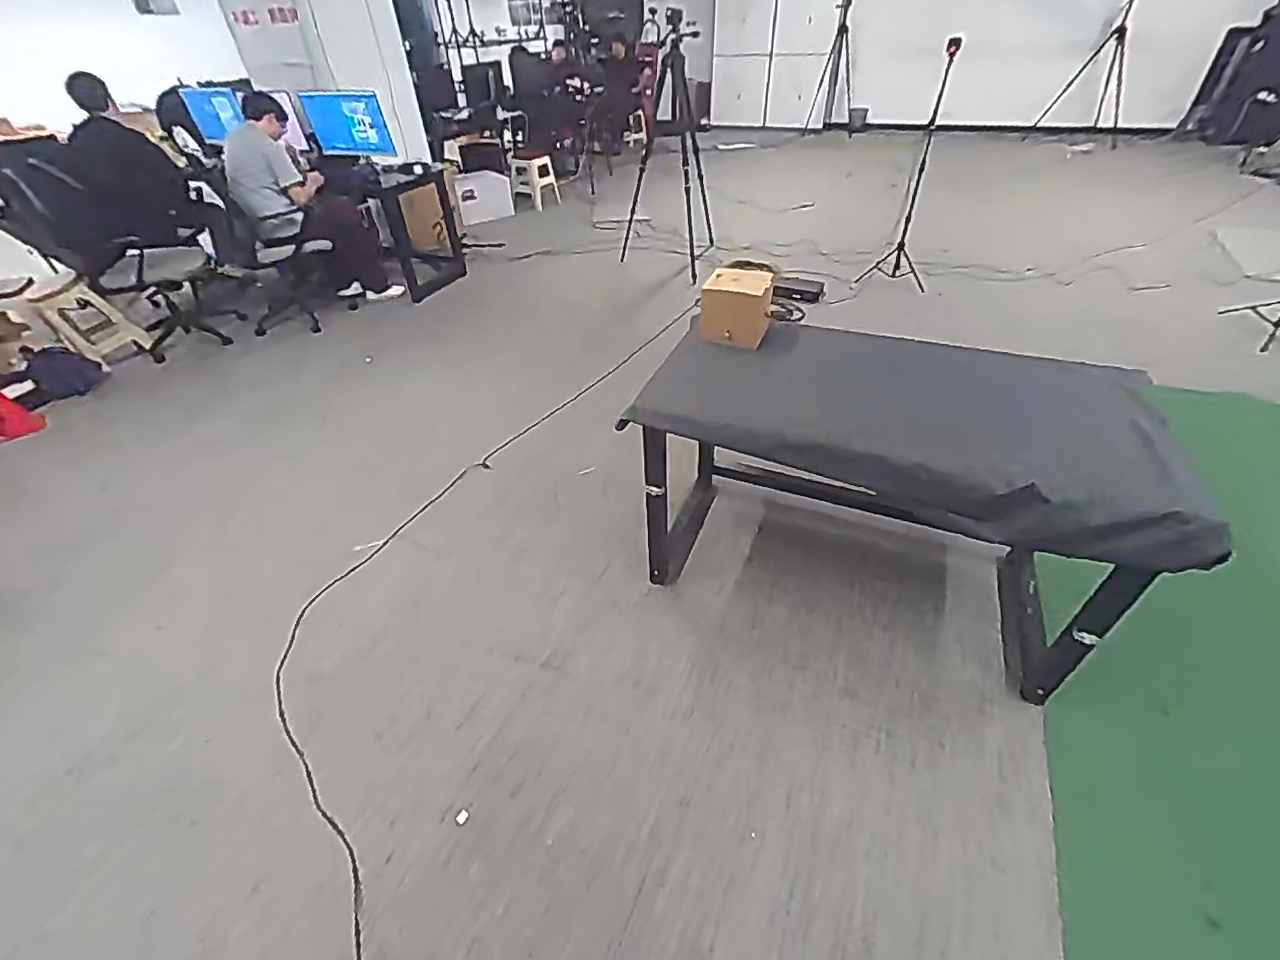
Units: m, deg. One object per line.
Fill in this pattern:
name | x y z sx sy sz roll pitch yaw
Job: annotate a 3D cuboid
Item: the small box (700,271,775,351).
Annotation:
small box | 0.290 -0.503 1.619 0.179 0.176 0.168 15 44 18
